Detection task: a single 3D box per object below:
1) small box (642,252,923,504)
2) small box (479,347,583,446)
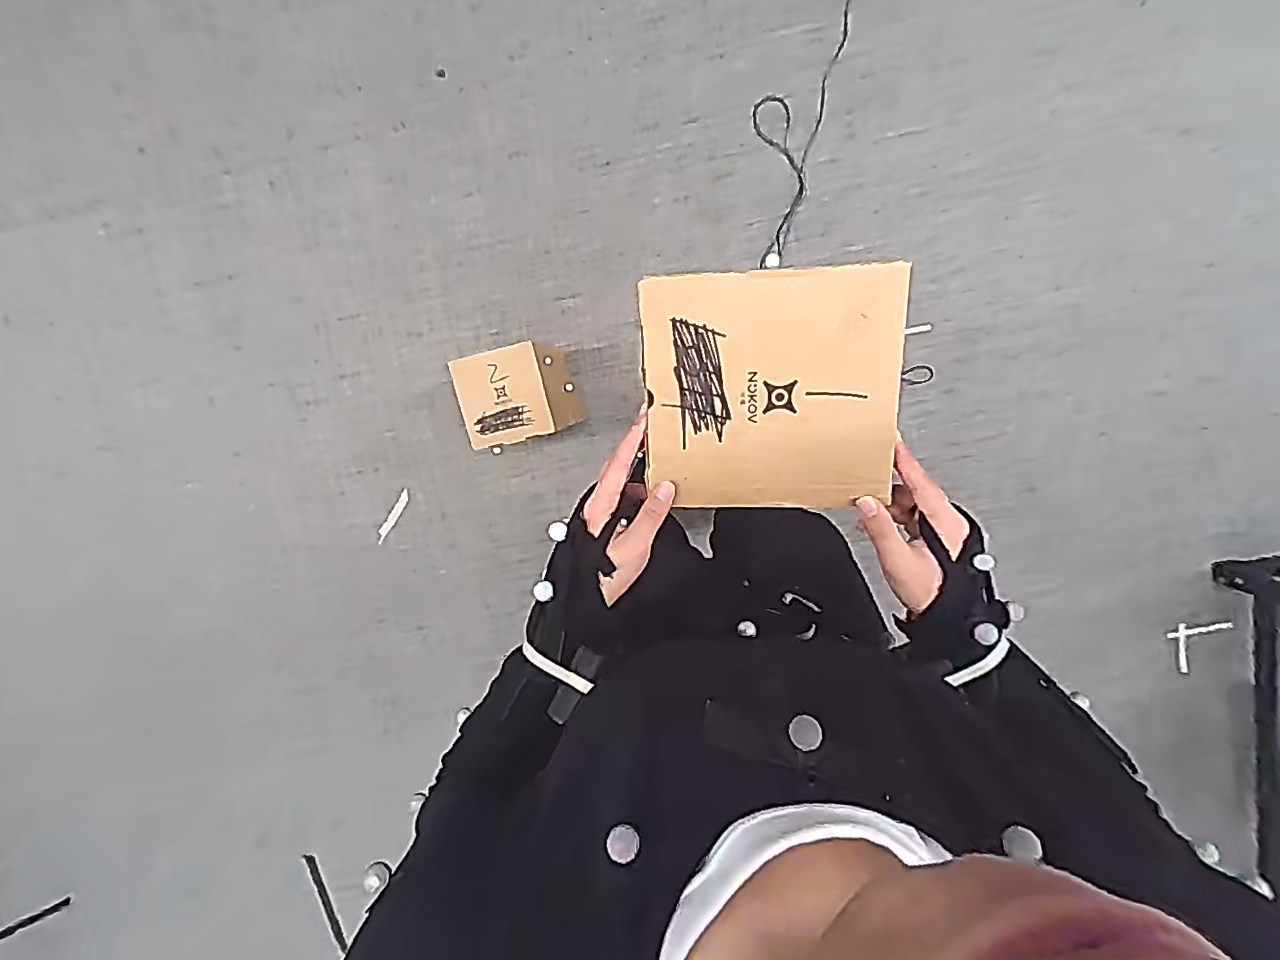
[{"bbox_3d":[0.101,-0.085,0.440,0.179,0.176,0.168,0,107,8],"label":"small box"},{"bbox_3d":[-0.241,-0.191,1.240,0.168,0.176,0.179,-18,99,6],"label":"small box"}]
